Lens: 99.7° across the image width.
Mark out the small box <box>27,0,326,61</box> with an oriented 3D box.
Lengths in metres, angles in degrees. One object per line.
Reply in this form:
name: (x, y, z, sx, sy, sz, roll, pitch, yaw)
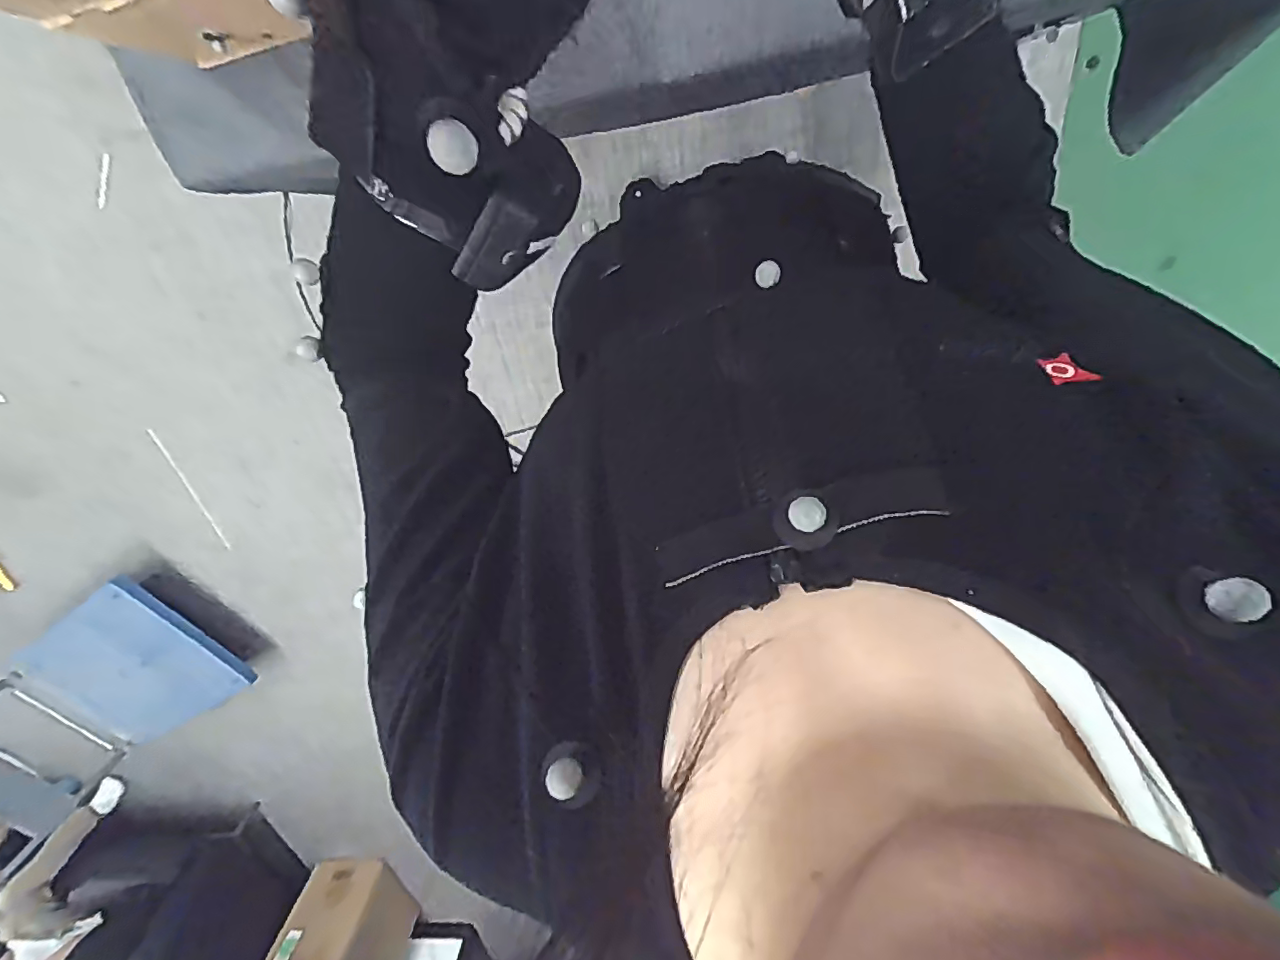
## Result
small box: (-0.417, -0.495, 0.458, 0.168, 0.176, 0.179, -8, 118, 10)
